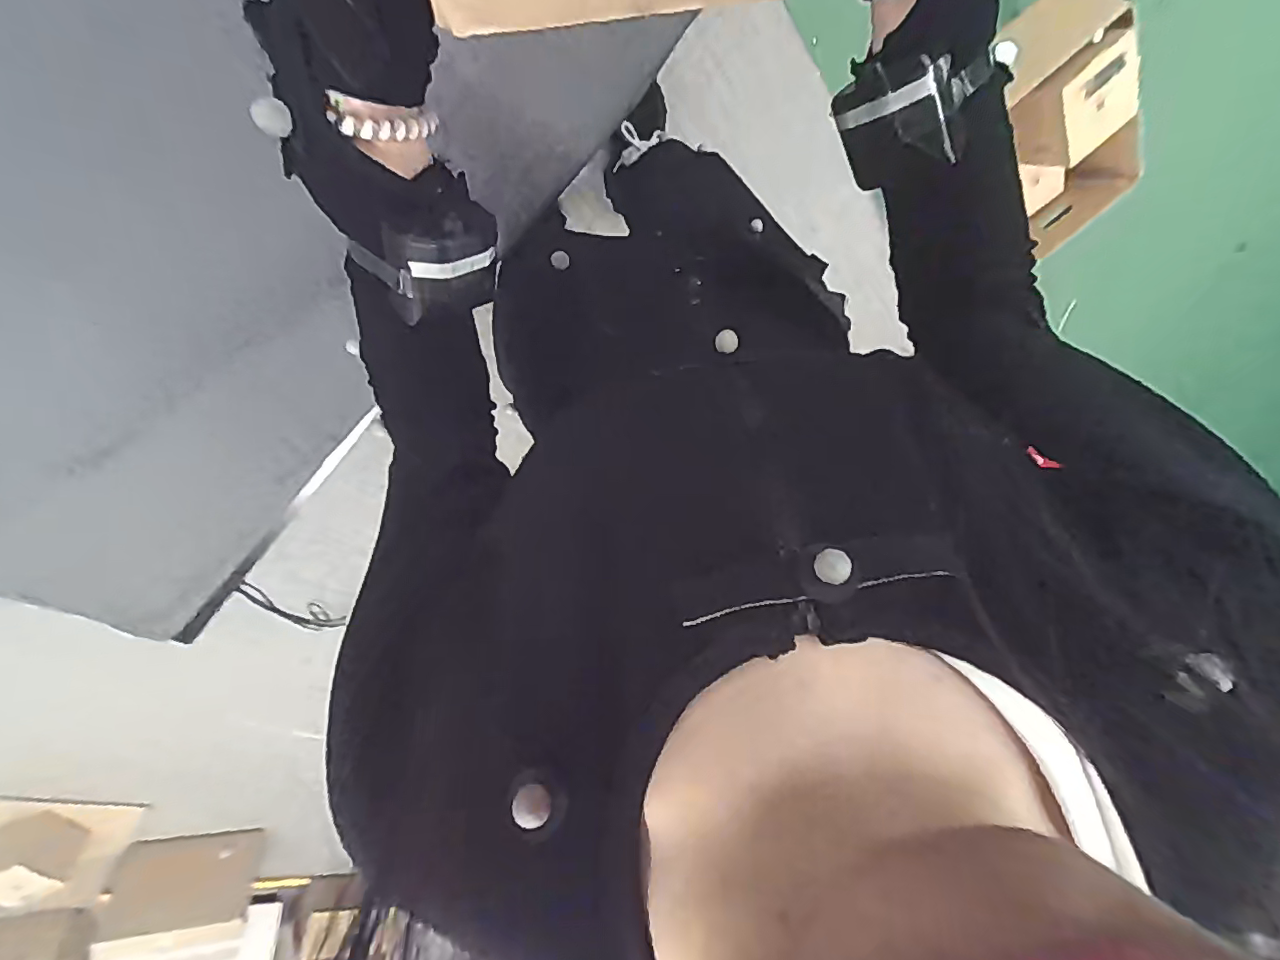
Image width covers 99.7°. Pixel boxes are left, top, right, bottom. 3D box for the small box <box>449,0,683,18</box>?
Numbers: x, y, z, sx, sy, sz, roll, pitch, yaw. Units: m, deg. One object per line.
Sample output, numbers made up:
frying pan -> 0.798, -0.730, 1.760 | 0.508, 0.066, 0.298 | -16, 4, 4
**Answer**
small box -> 0.005, -0.278, 0.143 | 0.179, 0.176, 0.168 | -12, 167, -8
